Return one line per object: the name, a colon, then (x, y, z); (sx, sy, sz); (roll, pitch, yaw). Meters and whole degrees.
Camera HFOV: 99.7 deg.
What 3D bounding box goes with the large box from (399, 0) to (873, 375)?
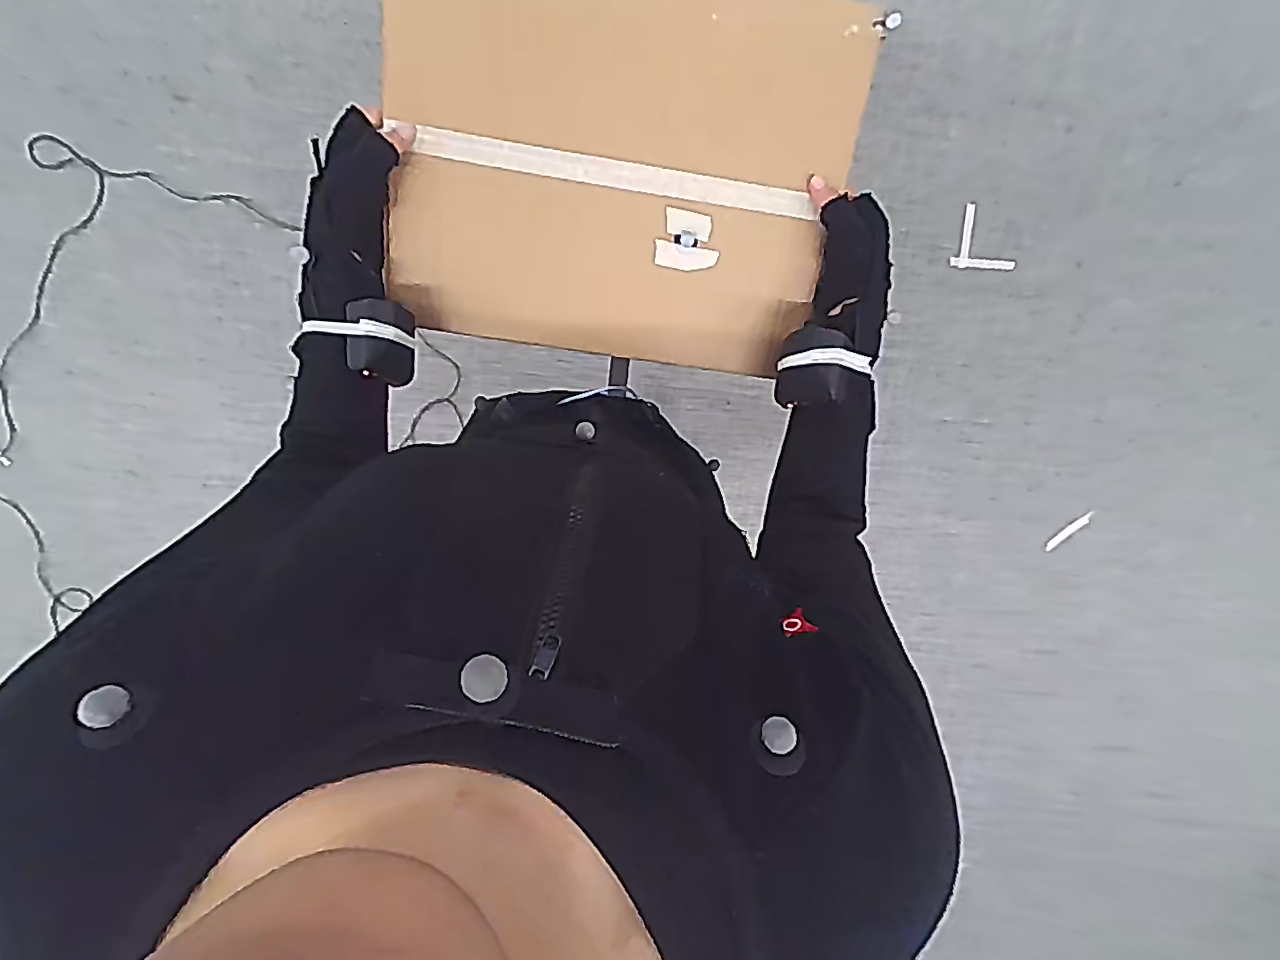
large box: (-0.024, -0.318, 0.632); (0.408, 0.320, 0.320); (6, 109, -6)
